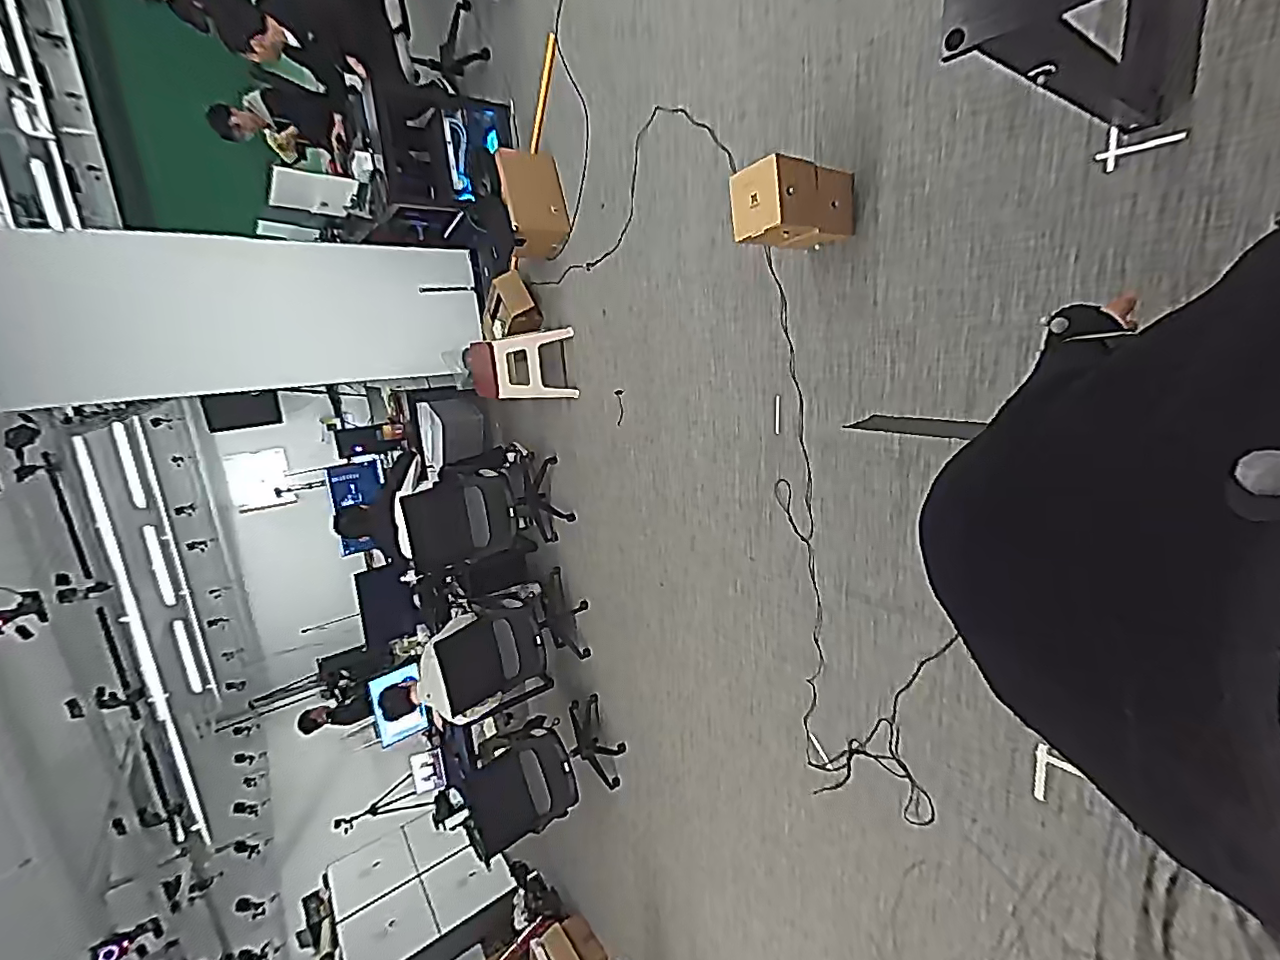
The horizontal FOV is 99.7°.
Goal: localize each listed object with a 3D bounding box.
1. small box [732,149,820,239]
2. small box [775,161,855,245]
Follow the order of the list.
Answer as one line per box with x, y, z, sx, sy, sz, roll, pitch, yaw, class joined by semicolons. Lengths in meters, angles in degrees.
0.377;-0.773;1.485;0.168;0.176;0.179;5;104;53;small box
0.509;-0.799;1.576;0.168;0.176;0.179;10;110;54;small box
